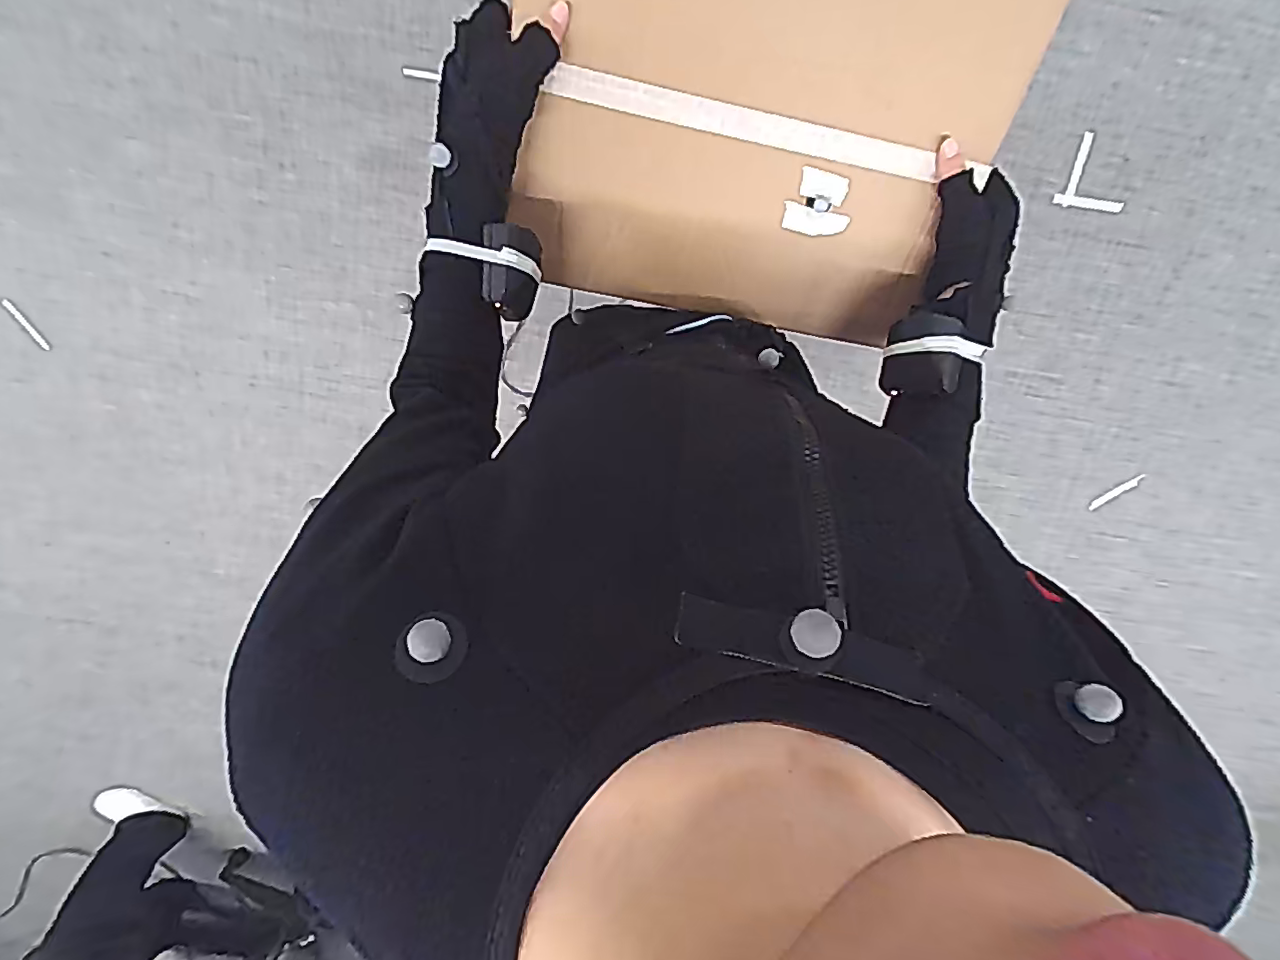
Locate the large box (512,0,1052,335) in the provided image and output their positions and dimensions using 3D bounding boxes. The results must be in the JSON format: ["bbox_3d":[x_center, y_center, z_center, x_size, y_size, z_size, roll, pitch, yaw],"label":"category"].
[{"bbox_3d":[0.095,-0.382,0.576,0.408,0.320,0.320,9,123,-8],"label":"large box"}]
